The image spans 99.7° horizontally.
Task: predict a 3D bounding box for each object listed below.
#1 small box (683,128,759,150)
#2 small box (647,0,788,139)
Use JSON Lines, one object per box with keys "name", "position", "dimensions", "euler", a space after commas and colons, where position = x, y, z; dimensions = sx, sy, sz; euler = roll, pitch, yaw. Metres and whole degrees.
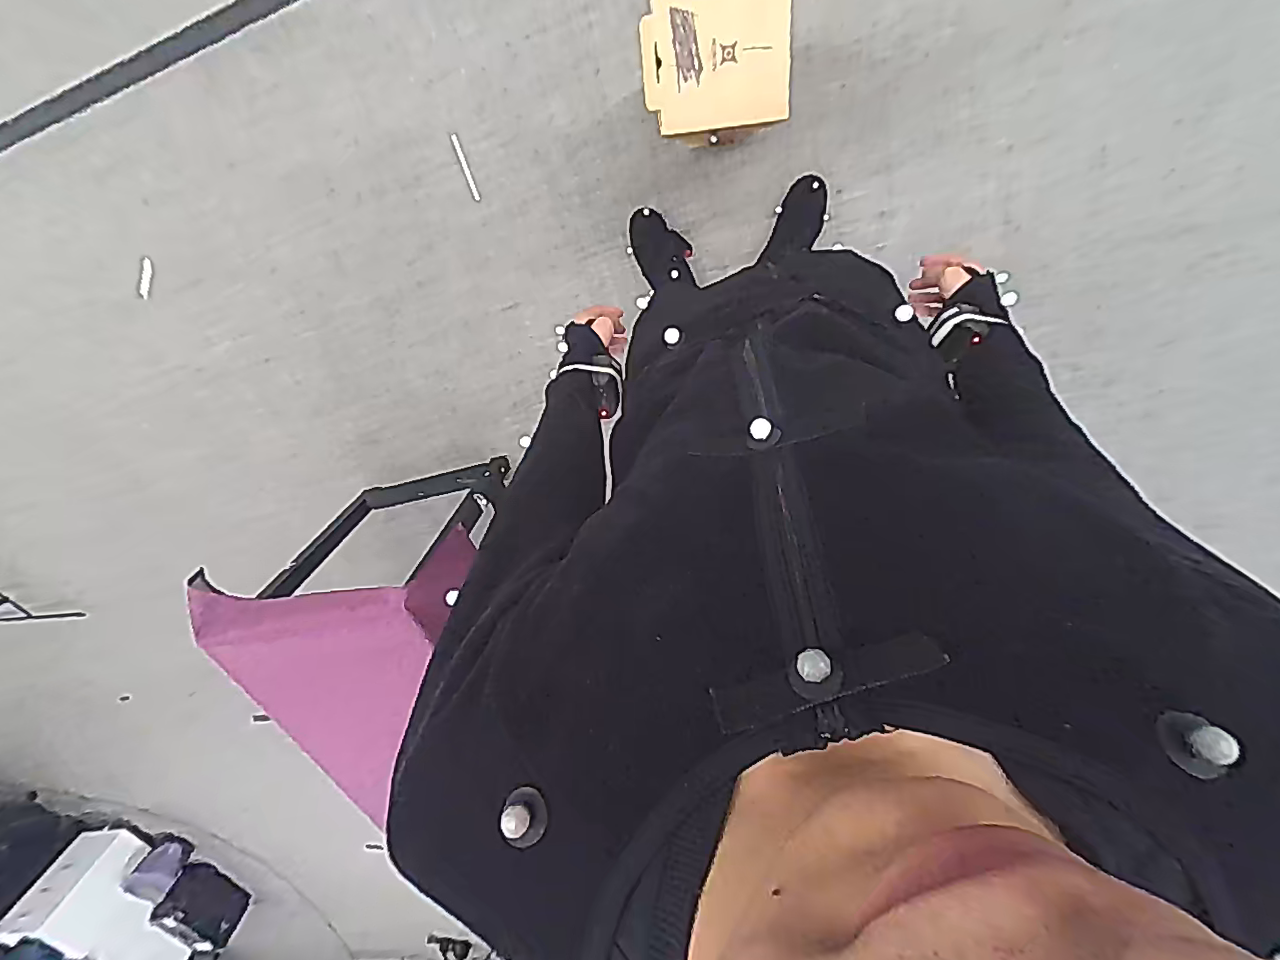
{"name": "small box", "position": [0.167, -0.847, 1.190], "dimensions": [0.168, 0.176, 0.179], "euler": [-8, 119, 11]}
{"name": "small box", "position": [0.109, -0.594, 0.770], "dimensions": [0.179, 0.176, 0.168], "euler": [-3, 120, 7]}
